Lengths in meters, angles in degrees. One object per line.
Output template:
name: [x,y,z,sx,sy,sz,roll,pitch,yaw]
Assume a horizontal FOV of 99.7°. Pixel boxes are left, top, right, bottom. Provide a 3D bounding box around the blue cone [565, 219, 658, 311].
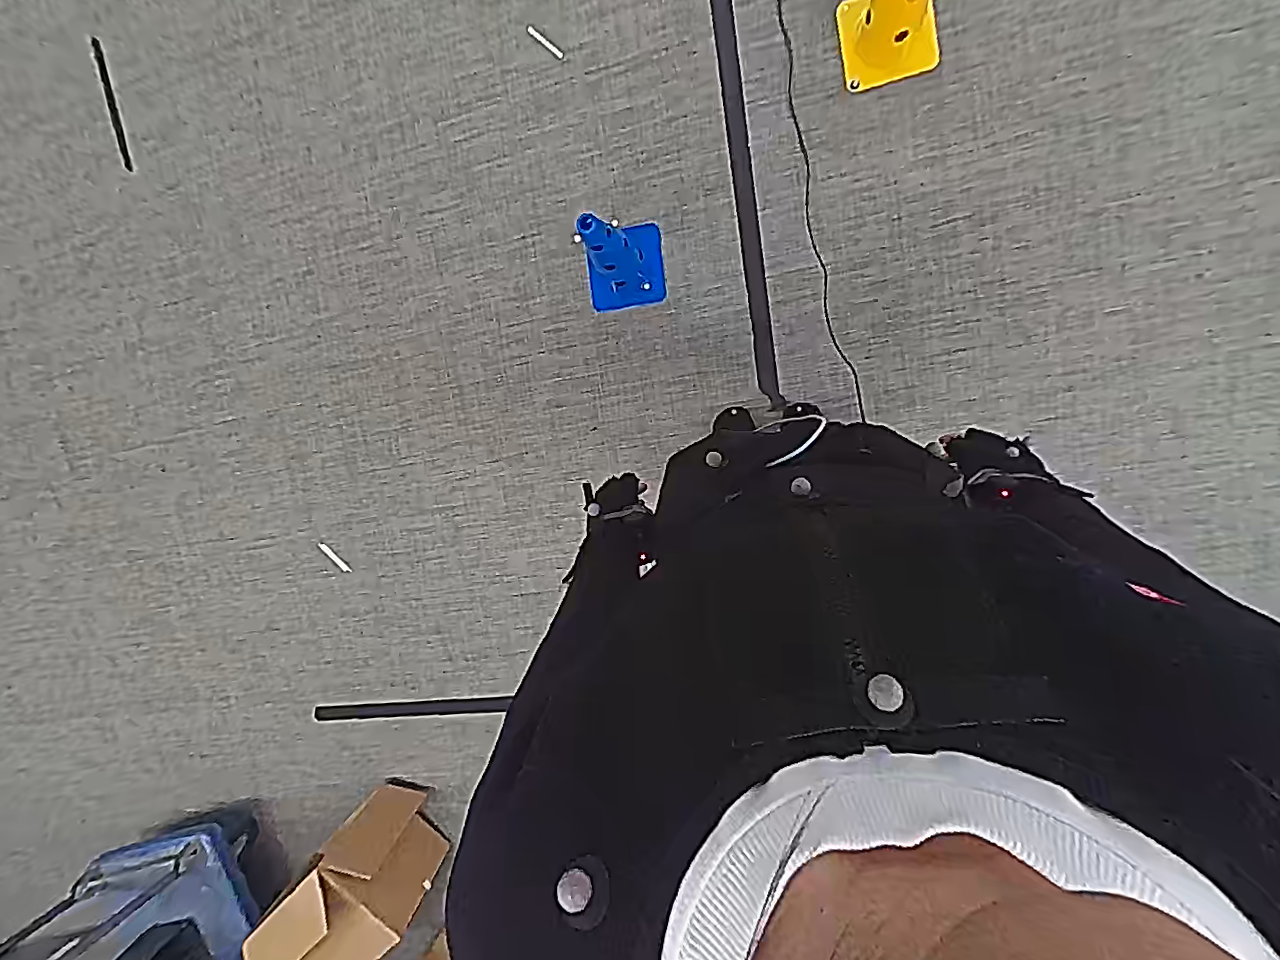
blue cone: [-0.085,-0.530,1.258,0.192,0.380,0.193,-4,96,13]
